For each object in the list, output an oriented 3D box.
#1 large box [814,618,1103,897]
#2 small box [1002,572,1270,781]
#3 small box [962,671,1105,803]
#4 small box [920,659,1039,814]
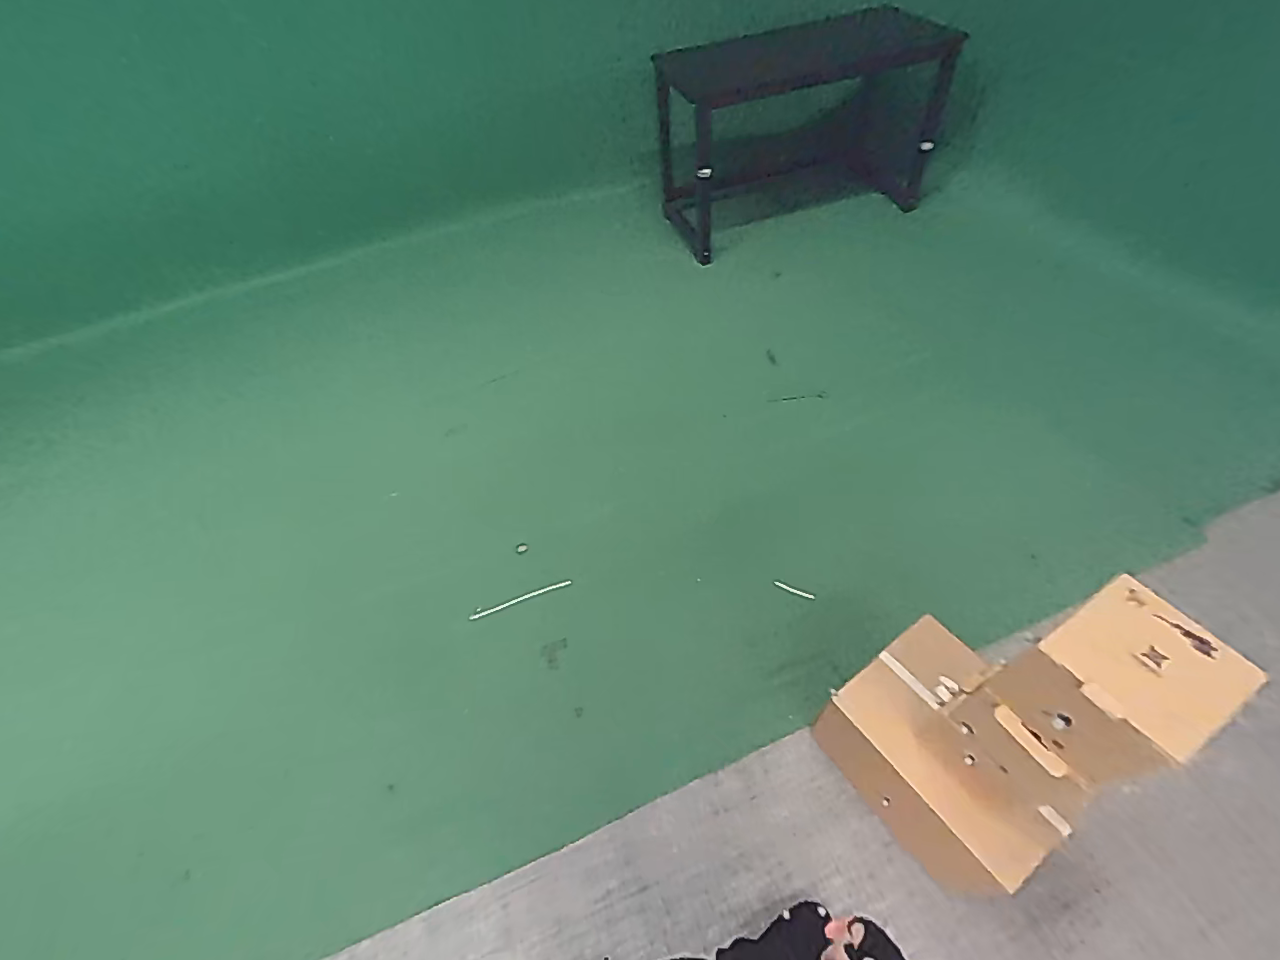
[{"bbox_3d":[0.649,0.594,1.172,0.320,0.320,0.408,-31,54,-18],"label":"large box"},{"bbox_3d":[0.617,0.260,0.705,0.179,0.176,0.168,-30,55,-13],"label":"small box"},{"bbox_3d":[0.634,0.364,0.832,0.179,0.176,0.168,-28,54,-13],"label":"small box"},{"bbox_3d":[0.642,0.460,0.965,0.168,0.176,0.179,-30,55,-14],"label":"small box"}]
